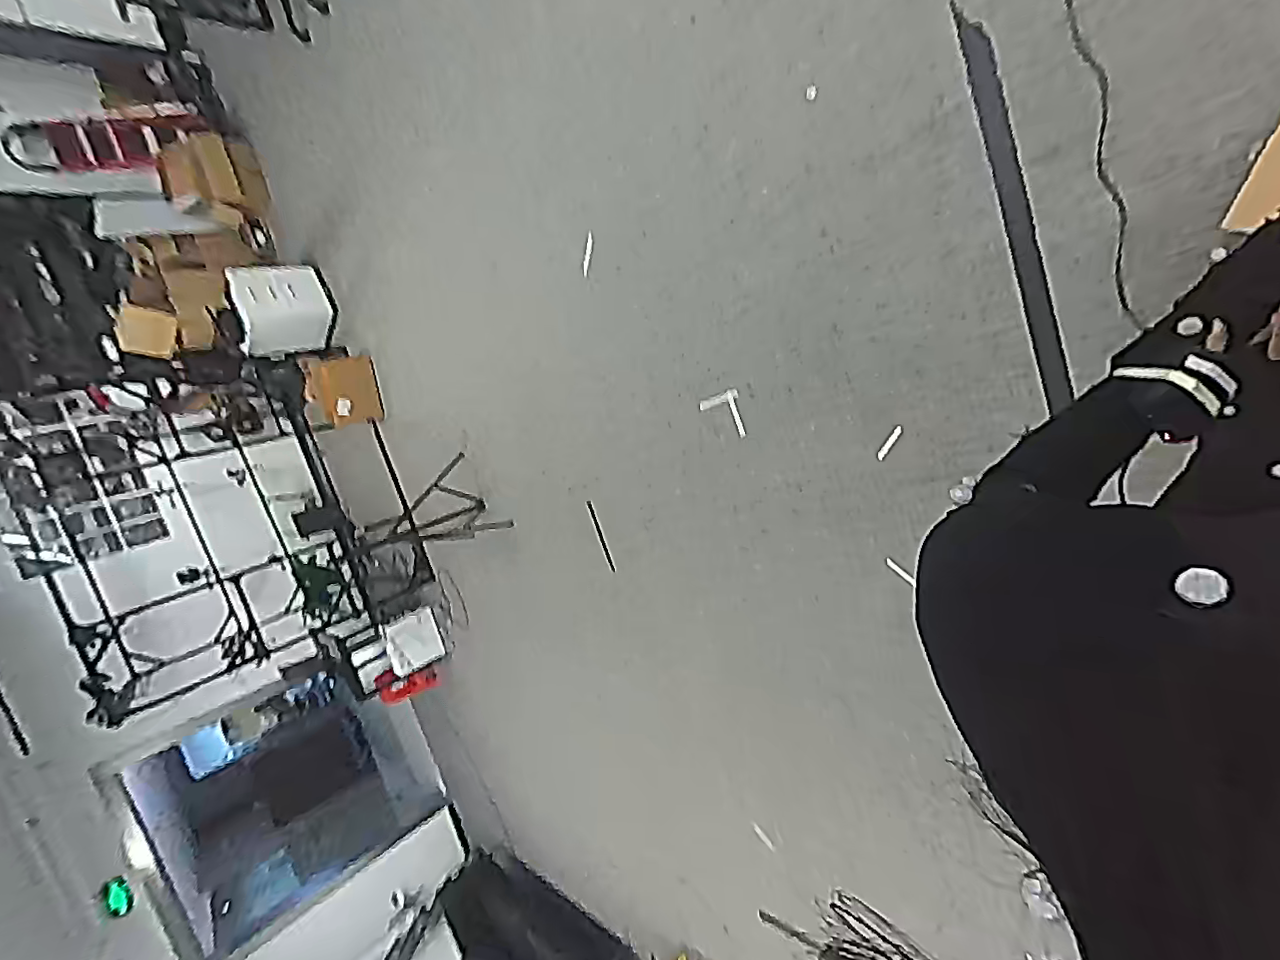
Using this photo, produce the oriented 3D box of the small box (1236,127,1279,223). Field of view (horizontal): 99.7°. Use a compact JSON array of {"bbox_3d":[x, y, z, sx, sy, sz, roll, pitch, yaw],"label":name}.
[{"bbox_3d":[0.915,-0.422,0.687,0.168,0.176,0.179,29,128,36],"label":"small box"}]
